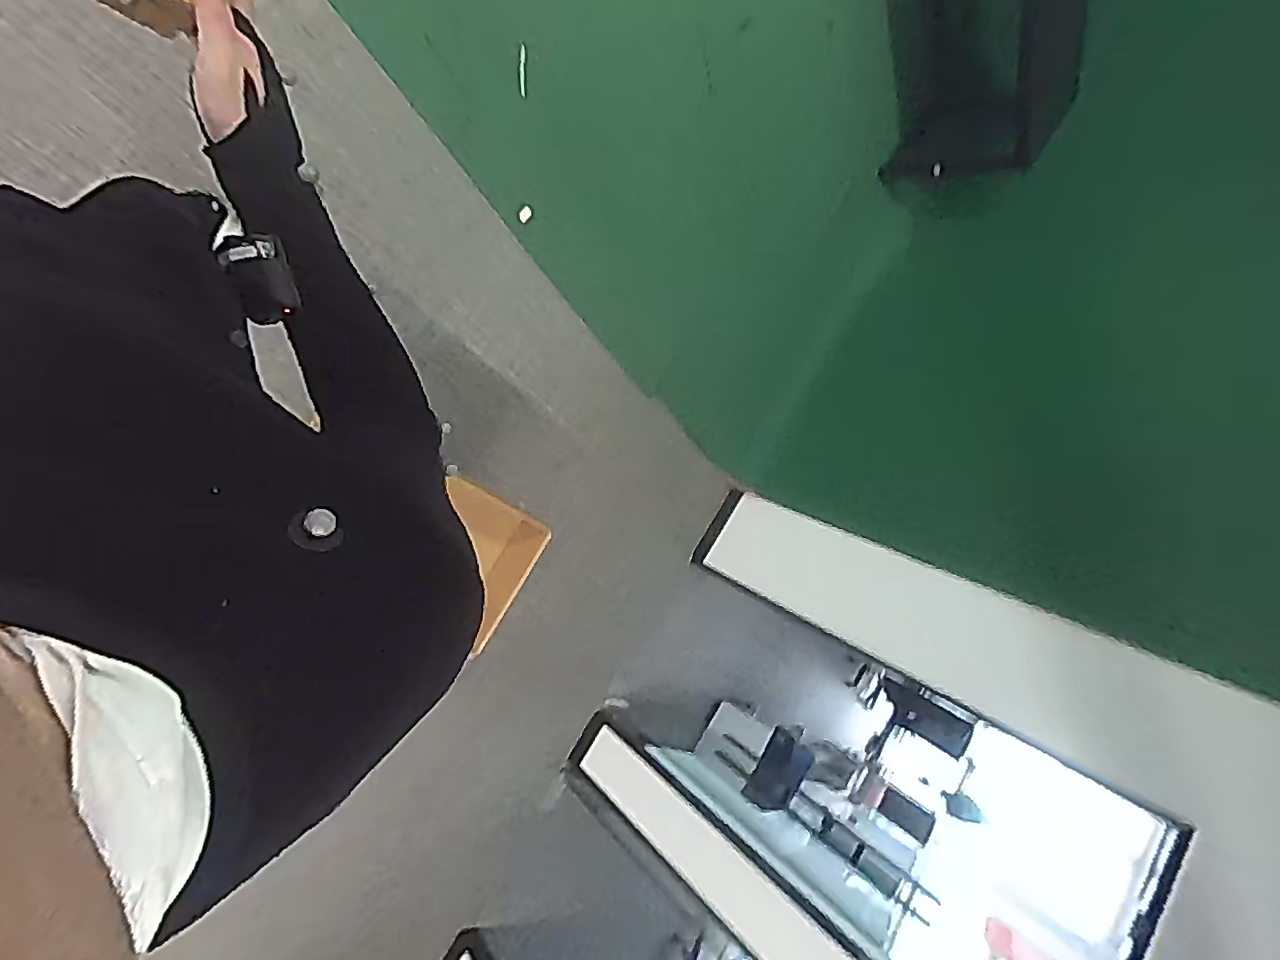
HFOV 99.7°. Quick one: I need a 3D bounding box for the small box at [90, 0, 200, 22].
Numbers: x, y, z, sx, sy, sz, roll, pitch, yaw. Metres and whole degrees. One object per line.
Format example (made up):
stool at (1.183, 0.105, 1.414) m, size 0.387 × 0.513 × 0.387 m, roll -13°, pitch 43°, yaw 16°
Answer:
small box at (-0.395, -0.439, 0.345) m, size 0.179 × 0.176 × 0.168 m, roll 3°, pitch 110°, yaw -52°
